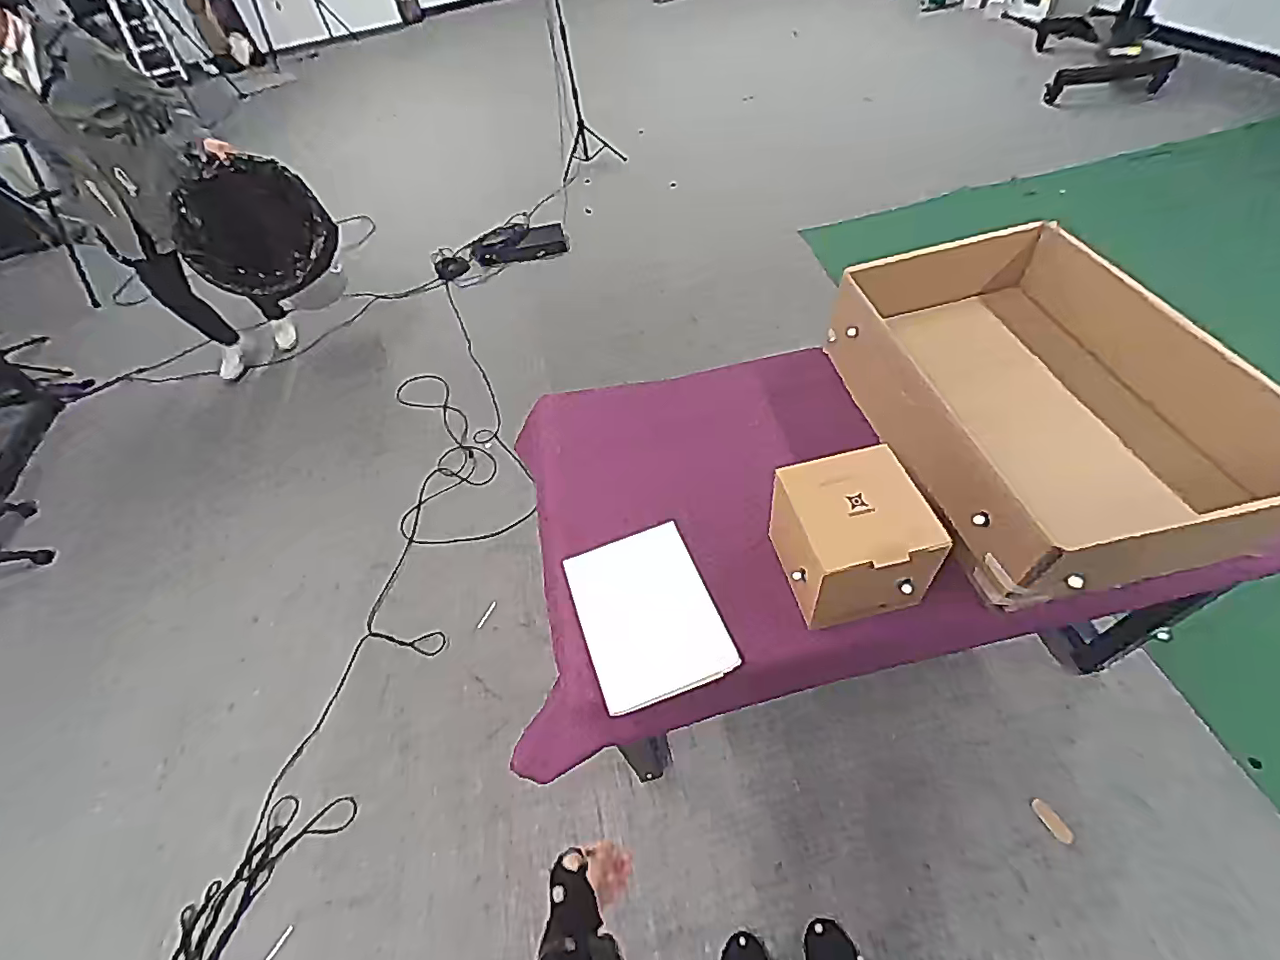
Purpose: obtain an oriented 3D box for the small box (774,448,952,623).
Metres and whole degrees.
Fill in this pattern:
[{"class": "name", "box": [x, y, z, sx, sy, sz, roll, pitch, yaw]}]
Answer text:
[{"class": "small box", "box": [0.298, 0.086, 0.767, 0.168, 0.176, 0.179, -13, 49, -1]}]
